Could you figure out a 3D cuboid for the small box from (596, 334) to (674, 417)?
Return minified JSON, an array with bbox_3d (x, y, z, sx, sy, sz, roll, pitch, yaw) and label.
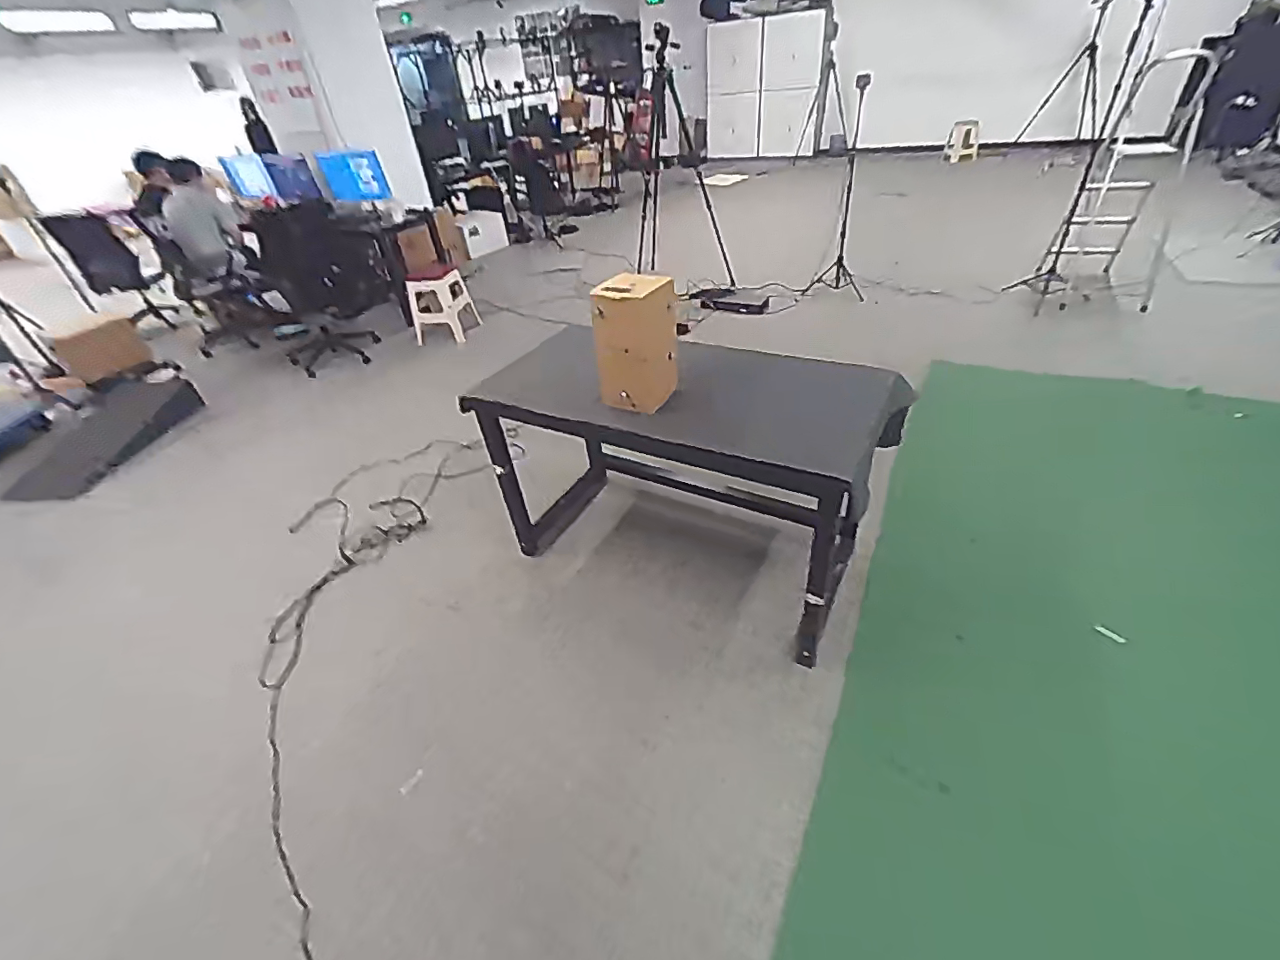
[{"bbox_3d":[-0.010,-0.305,1.574,0.168,0.176,0.179,14,41,25],"label":"small box"}]
